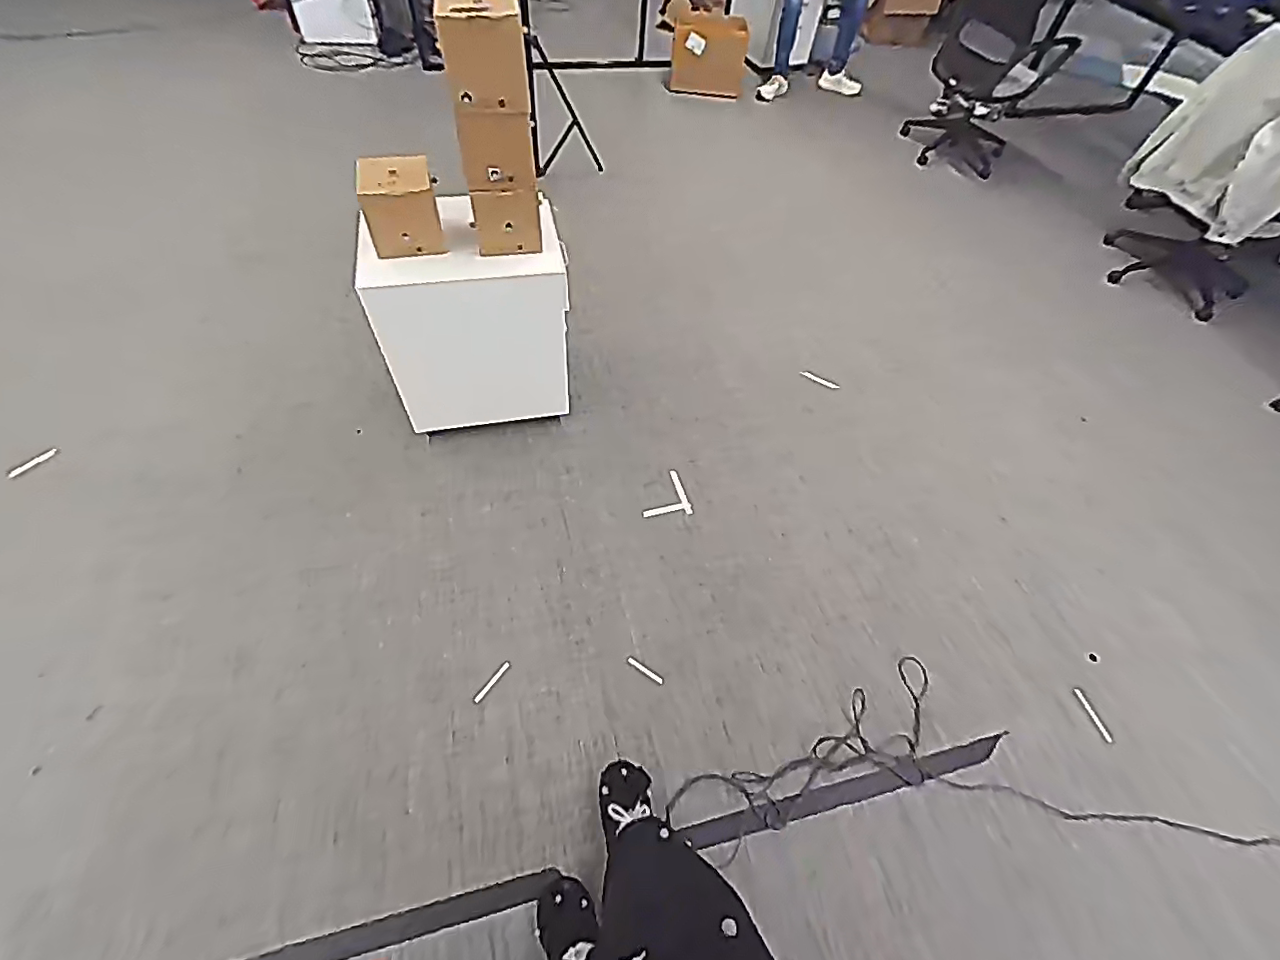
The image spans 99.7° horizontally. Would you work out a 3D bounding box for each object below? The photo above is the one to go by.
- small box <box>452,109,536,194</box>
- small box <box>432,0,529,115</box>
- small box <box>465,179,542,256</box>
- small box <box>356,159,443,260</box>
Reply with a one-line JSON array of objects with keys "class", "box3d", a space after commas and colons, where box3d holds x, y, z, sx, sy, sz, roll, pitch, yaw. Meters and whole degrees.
[{"class": "small box", "box3d": [-0.345, -0.806, 1.283, 0.168, 0.176, 0.179, -9, 57, -9]}, {"class": "small box", "box3d": [-0.333, -0.898, 1.147, 0.168, 0.176, 0.179, -8, 55, -9]}, {"class": "small box", "box3d": [-0.354, -0.706, 1.412, 0.168, 0.176, 0.179, -9, 58, -10]}, {"class": "small box", "box3d": [-0.606, -0.685, 1.373, 0.168, 0.176, 0.179, -11, 57, -13]}]
